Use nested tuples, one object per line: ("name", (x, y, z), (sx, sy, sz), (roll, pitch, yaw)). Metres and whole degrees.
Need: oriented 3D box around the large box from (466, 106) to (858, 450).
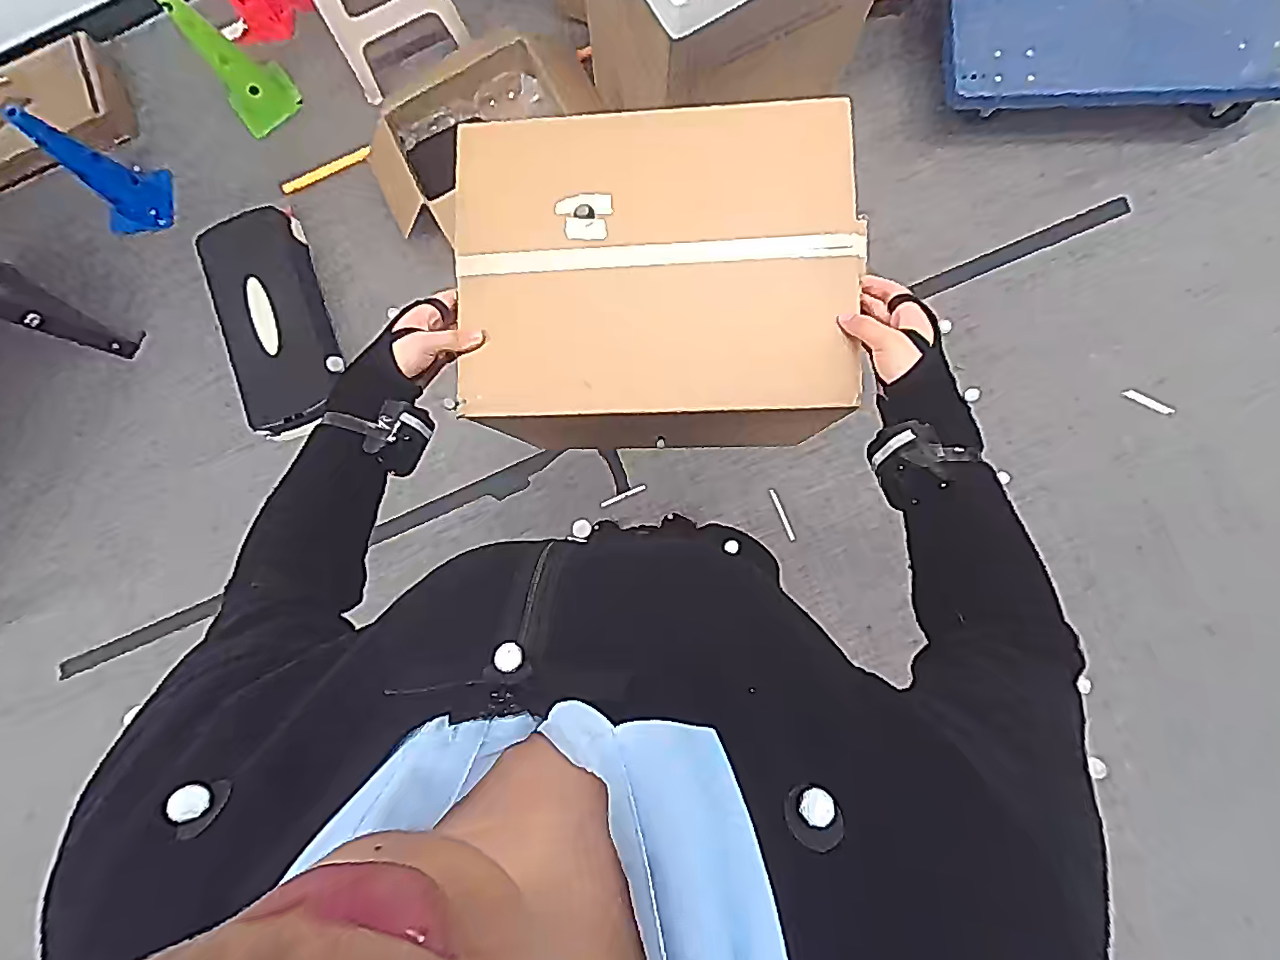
("large box", (0.029, -0.212, 0.704), (0.408, 0.320, 0.320), (-1, 85, 6))
